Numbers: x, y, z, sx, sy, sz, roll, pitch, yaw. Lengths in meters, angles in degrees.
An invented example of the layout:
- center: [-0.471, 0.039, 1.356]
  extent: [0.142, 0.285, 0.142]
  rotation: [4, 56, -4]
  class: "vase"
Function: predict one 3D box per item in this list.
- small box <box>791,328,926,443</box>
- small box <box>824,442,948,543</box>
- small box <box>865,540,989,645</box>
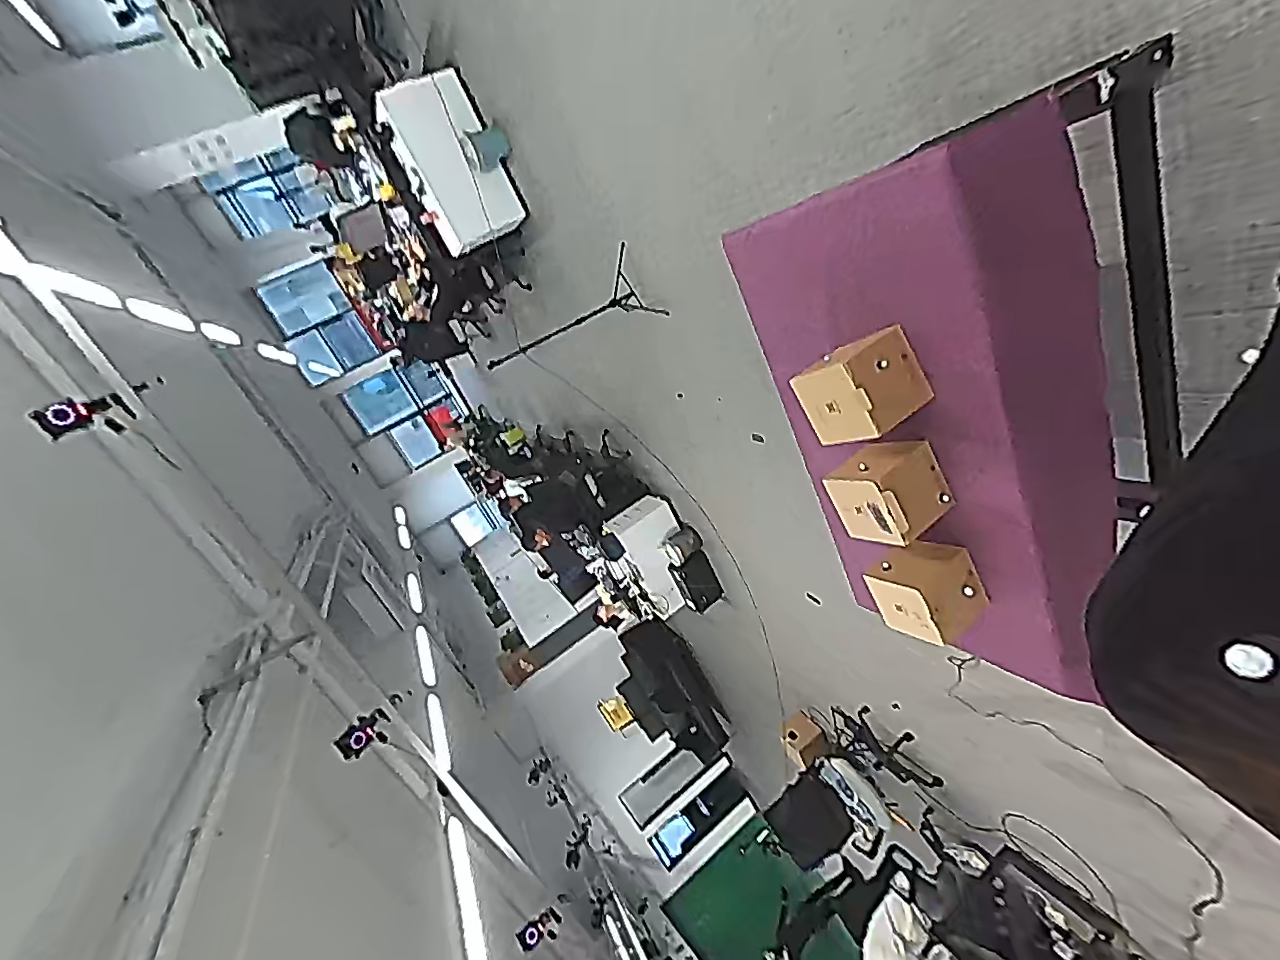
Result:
- center: [0.461, -0.195, 1.131]
  extent: [0.168, 0.176, 0.179]
  rotation: [59, 163, -9]
  class: "small box"
- center: [0.566, 0.023, 1.233]
  extent: [0.168, 0.176, 0.179]
  rotation: [60, 163, -11]
  class: "small box"
- center: [0.695, 0.263, 1.311]
  extent: [0.168, 0.176, 0.179]
  rotation: [60, 162, -13]
  class: "small box"
